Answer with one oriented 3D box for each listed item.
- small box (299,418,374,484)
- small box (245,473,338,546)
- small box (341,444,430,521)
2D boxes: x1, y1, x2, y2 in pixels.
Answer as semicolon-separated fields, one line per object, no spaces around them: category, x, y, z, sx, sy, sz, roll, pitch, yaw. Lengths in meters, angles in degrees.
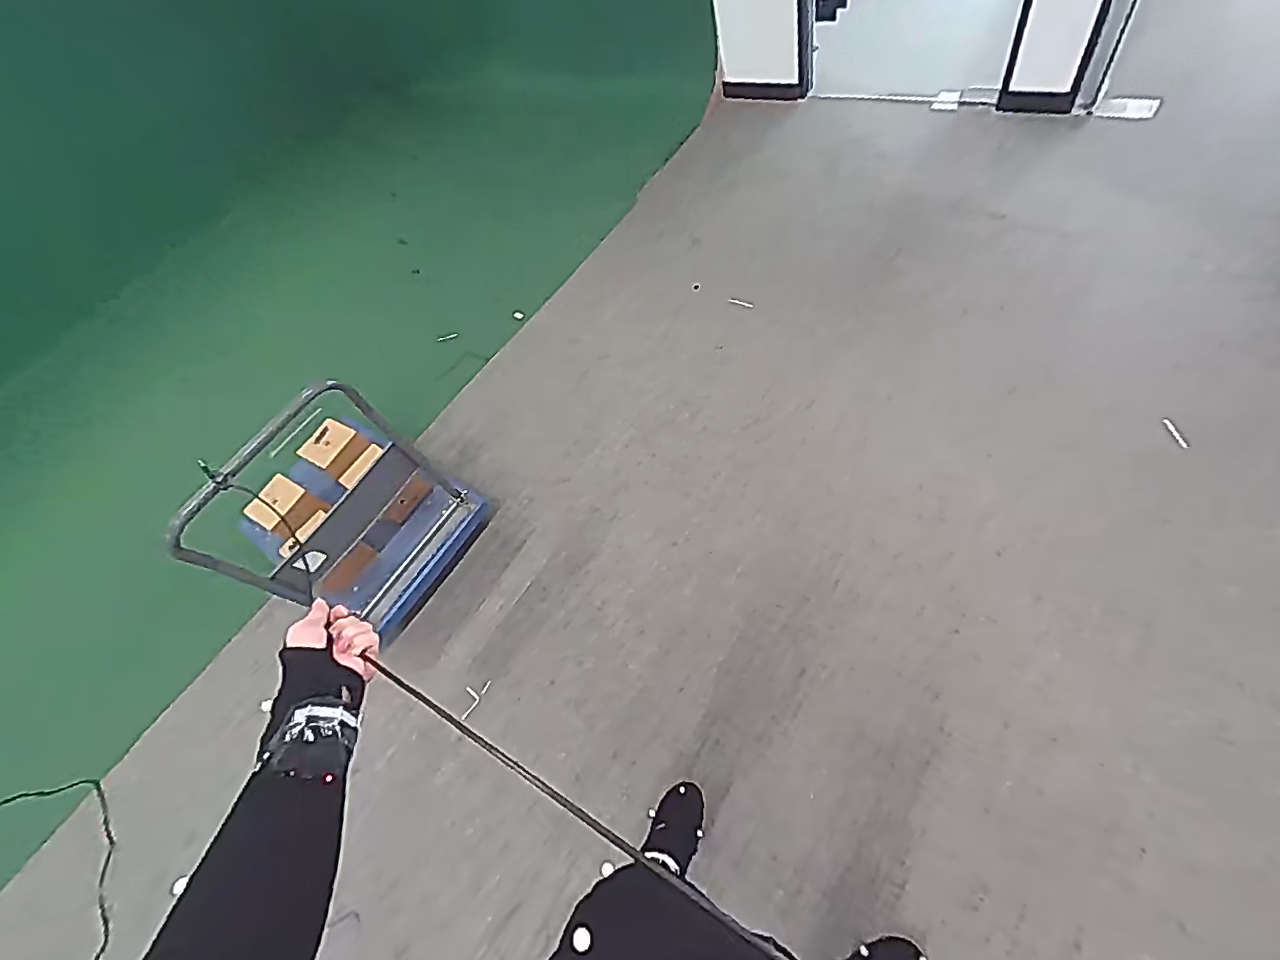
small box;-1.064;-0.093;1.945;0.179;0.176;0.168;23;69;26
small box;-1.190;0.108;1.861;0.179;0.176;0.168;22;67;27
small box;-0.850;0.012;1.818;0.179;0.176;0.168;27;71;28
